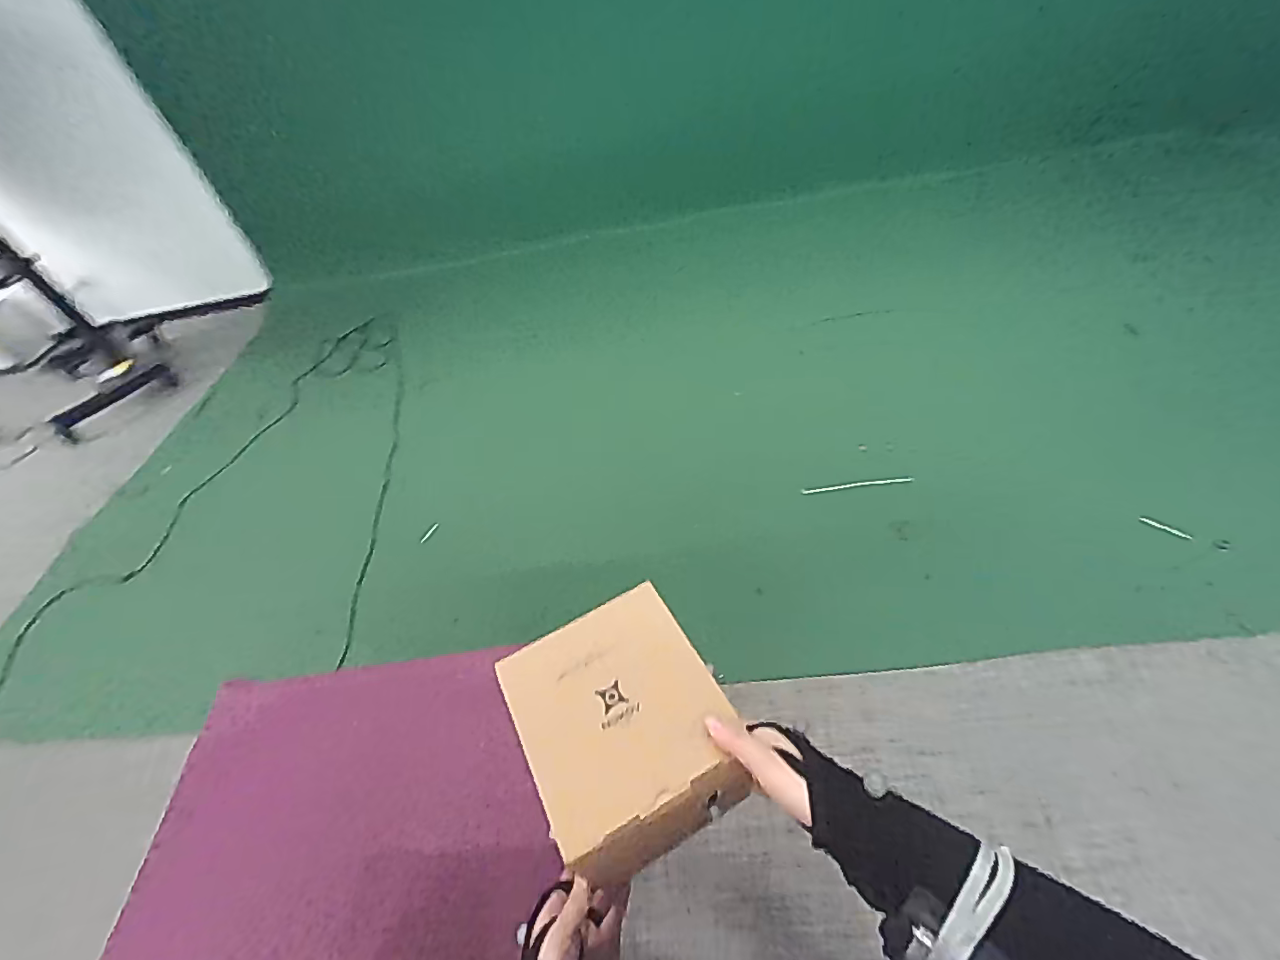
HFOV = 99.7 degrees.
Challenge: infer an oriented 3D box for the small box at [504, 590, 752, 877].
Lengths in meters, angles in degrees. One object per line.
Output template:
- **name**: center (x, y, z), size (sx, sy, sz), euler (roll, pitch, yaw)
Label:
- **small box**: center (-0.006, 0.246, 0.520), size (0.168, 0.176, 0.179), euler (-25, 48, -12)
